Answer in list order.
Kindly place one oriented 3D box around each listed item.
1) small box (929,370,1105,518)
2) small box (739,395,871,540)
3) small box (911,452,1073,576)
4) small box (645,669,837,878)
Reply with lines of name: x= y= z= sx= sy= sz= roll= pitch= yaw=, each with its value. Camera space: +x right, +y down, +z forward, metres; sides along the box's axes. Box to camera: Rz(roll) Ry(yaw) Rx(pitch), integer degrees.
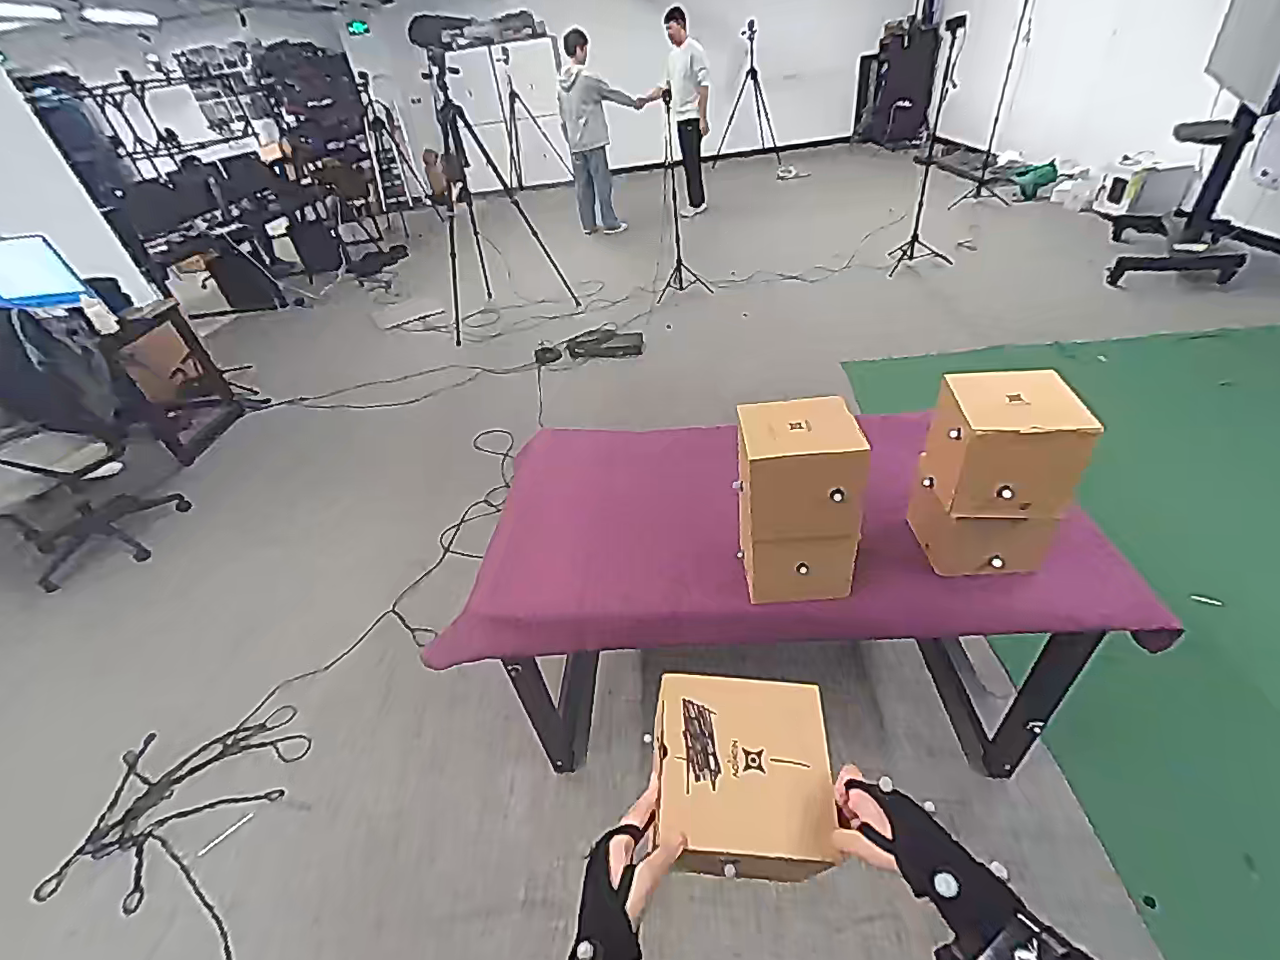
small box: x=0.582 y=-0.060 z=0.867 sx=0.168 sy=0.176 sz=0.179 roll=0 pitch=38 yaw=13
small box: x=0.257 y=-0.019 z=0.885 sx=0.179 sy=0.176 sz=0.168 roll=-5 pitch=36 yaw=8
small box: x=0.619 y=0.056 z=0.978 sx=0.179 sy=0.176 sz=0.168 roll=-5 pitch=36 yaw=7
small box: x=0.098 y=0.330 z=0.604 sx=0.179 sy=0.176 sz=0.168 roll=5 pitch=48 yaw=1
